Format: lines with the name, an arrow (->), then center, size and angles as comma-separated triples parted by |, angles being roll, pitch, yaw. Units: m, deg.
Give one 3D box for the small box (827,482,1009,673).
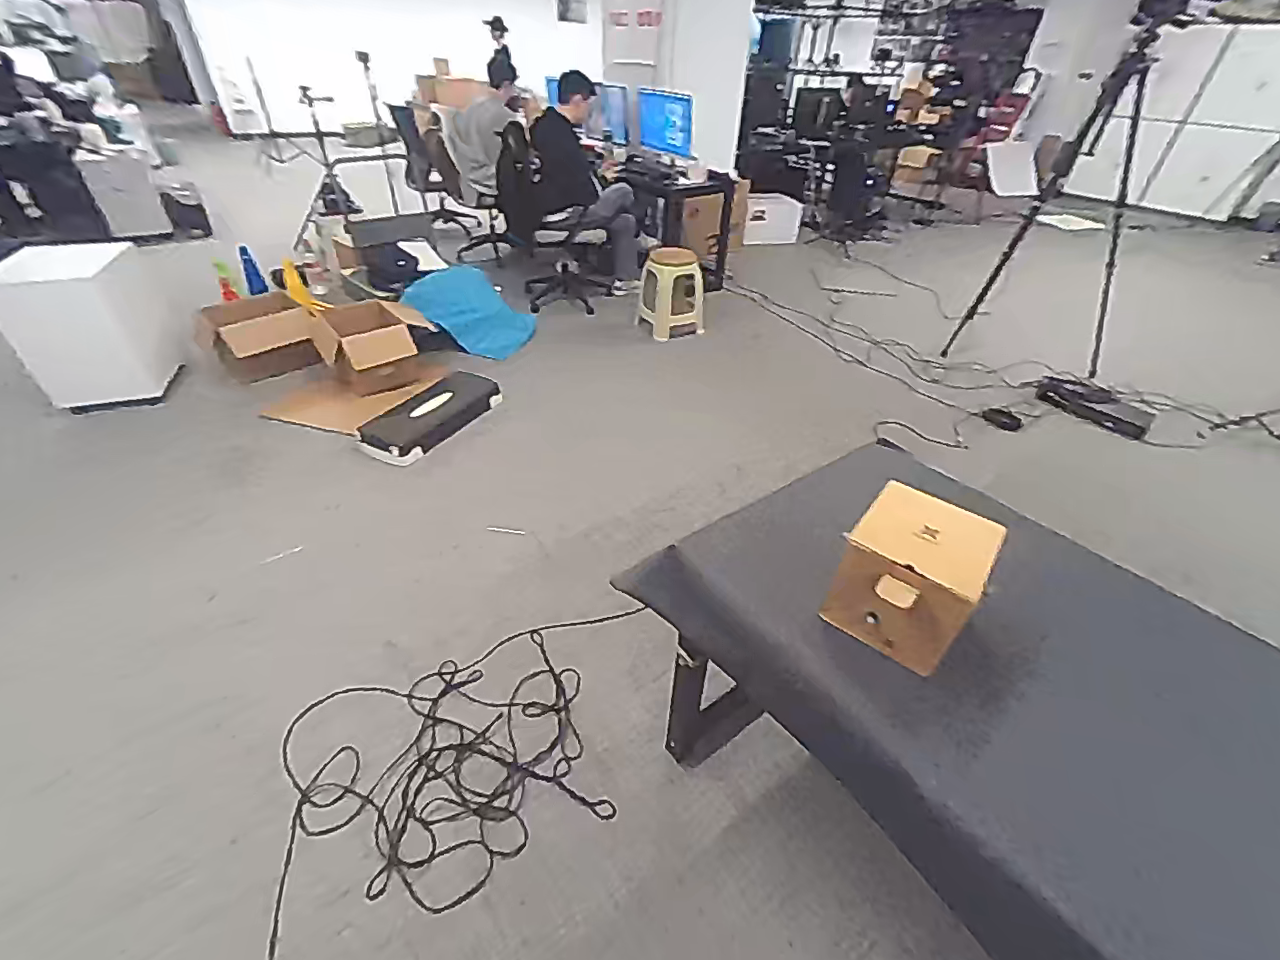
small box -> 0.396, 0.138, 0.788 | 0.168, 0.176, 0.179 | 28, 45, 28
